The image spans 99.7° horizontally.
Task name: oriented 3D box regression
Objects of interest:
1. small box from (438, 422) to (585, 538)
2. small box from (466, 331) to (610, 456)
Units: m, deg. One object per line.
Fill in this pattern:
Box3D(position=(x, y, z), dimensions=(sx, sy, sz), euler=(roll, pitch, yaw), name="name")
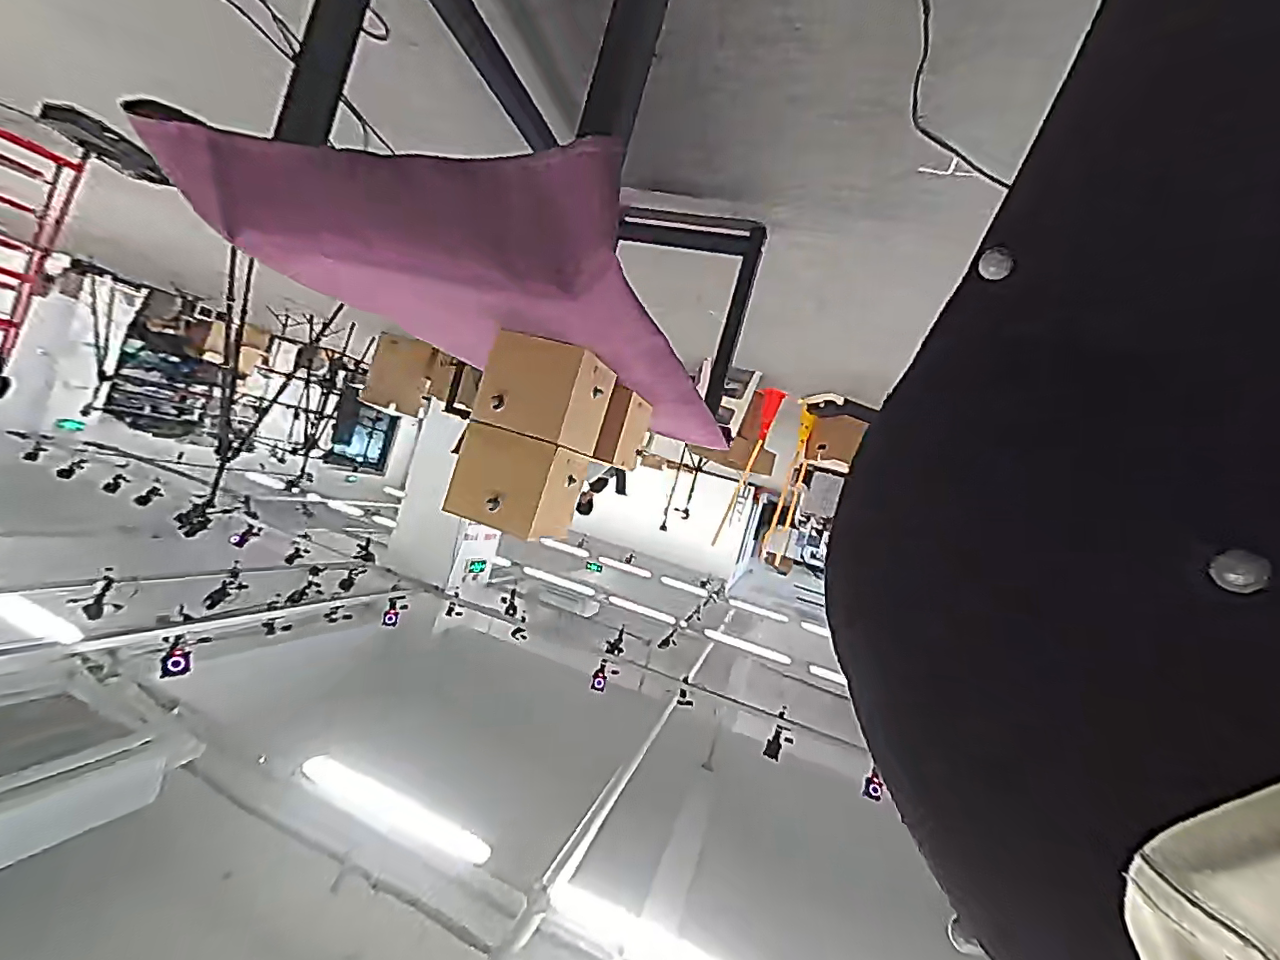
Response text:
Box3D(position=(-0.223, 0.000, 0.975), dimensions=(0.179, 0.176, 0.168), euler=(16, 179, 16), name="small box")
Box3D(position=(-0.175, -0.155, 0.975), dimensions=(0.179, 0.176, 0.168), euler=(16, 180, 16), name="small box")
